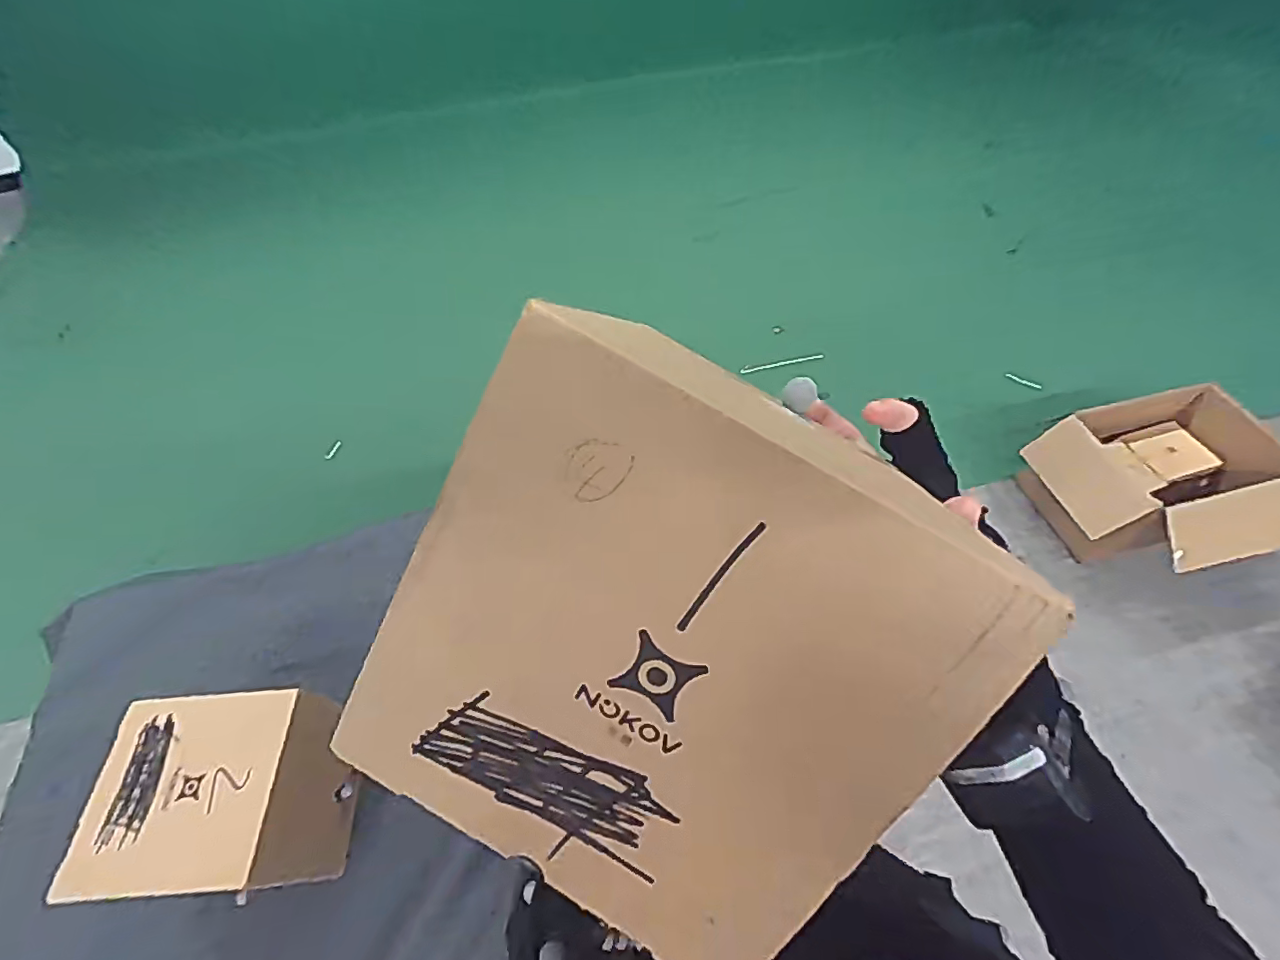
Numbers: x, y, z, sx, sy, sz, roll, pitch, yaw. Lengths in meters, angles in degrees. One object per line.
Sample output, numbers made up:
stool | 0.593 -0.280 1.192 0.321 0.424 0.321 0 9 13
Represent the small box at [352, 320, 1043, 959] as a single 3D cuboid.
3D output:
small box | 0.016 0.049 0.249 0.168 0.176 0.179 30 107 3
